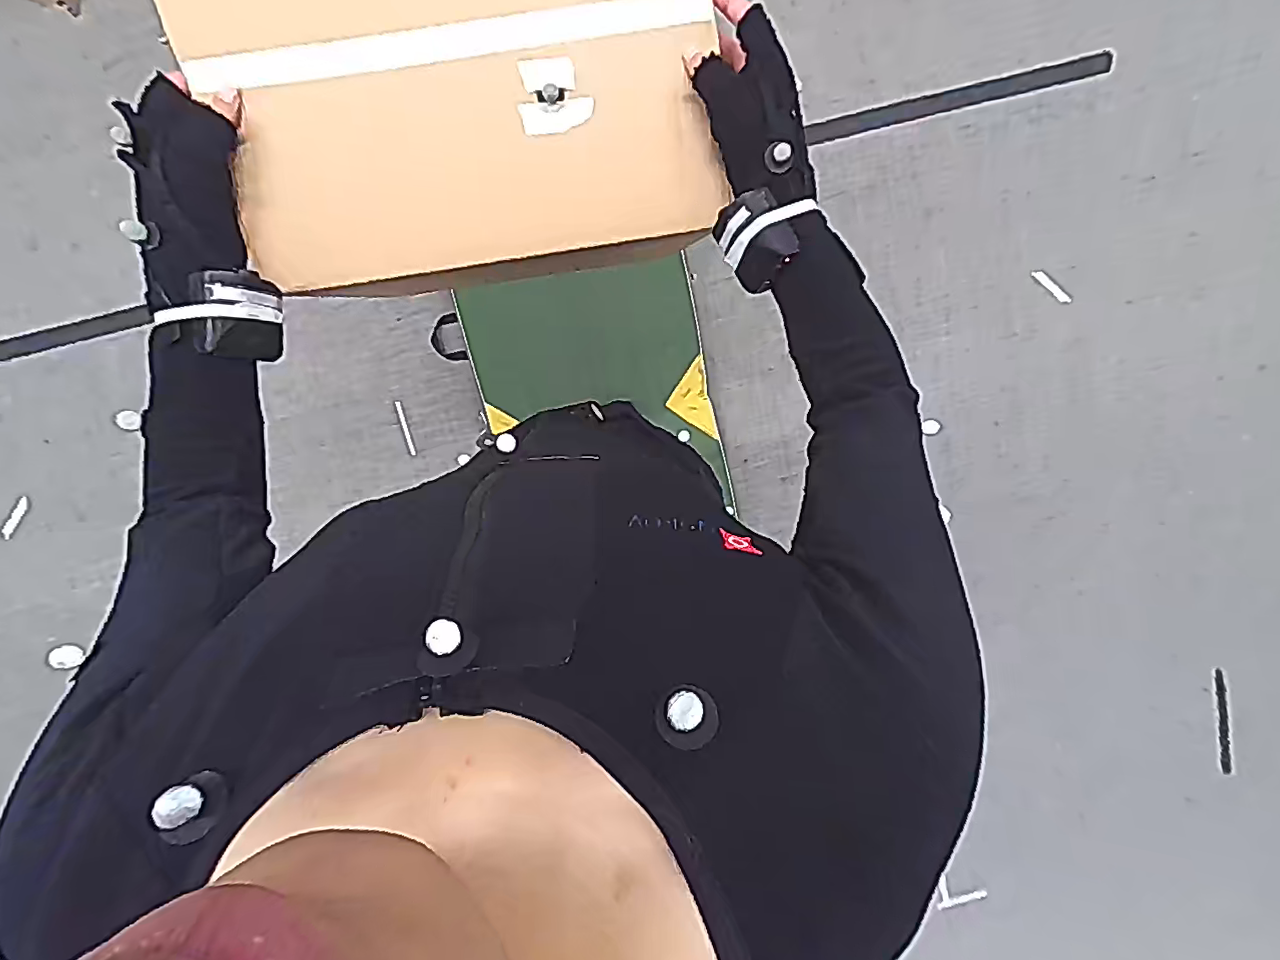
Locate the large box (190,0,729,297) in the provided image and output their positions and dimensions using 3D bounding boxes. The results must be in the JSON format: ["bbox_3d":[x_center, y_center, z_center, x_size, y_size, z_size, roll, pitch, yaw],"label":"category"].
[{"bbox_3d":[-0.154,-0.390,0.575,0.408,0.320,0.320,-11,109,-3],"label":"large box"}]
